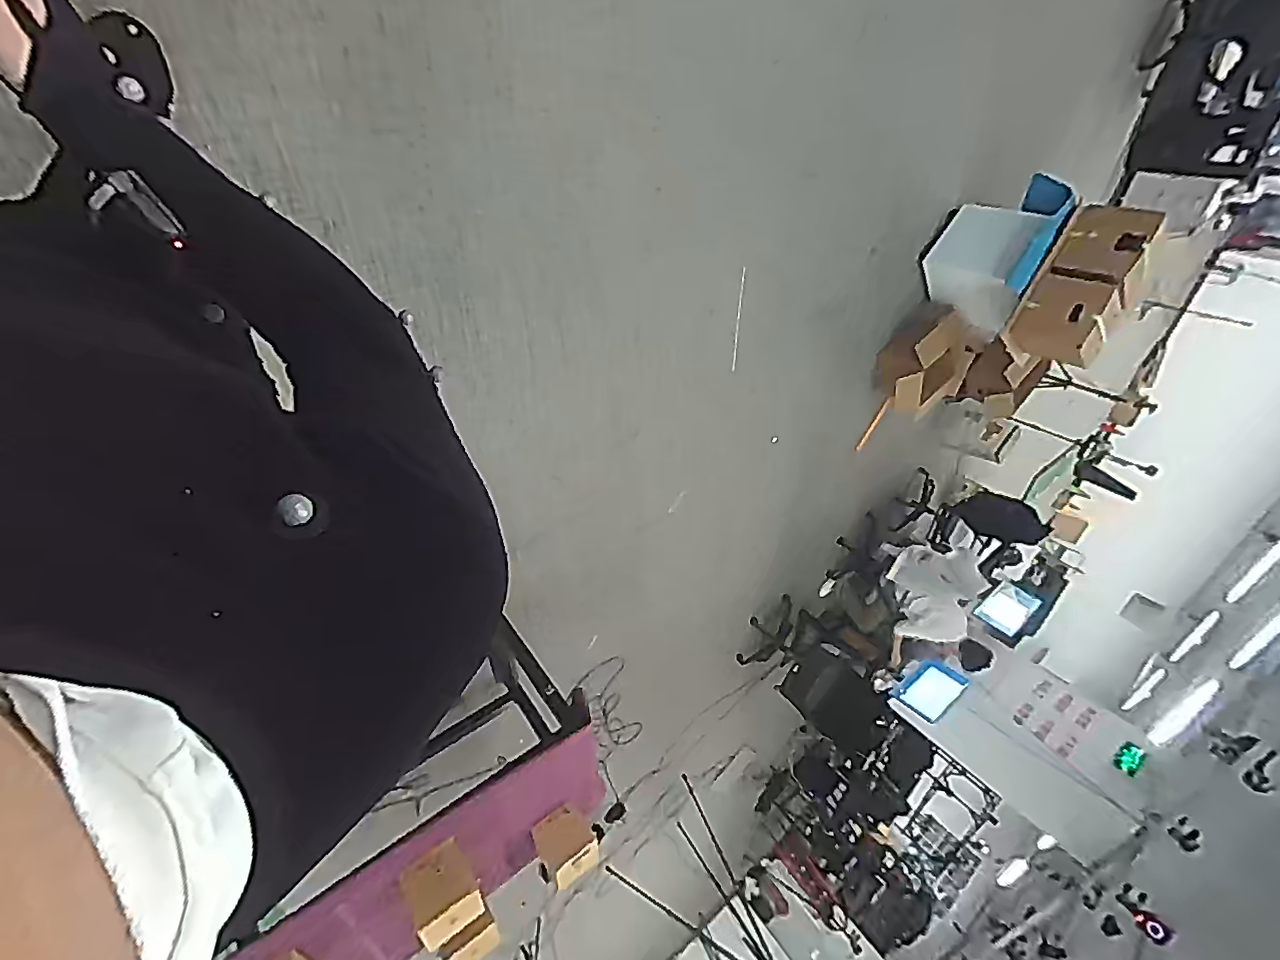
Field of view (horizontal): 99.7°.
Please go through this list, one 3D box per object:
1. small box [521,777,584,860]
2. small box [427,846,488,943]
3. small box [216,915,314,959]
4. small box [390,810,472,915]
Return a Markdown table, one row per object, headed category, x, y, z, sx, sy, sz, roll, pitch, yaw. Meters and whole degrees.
| category | x | y | z | sx | sy | sz | roll | pitch | yaw |
| --- | --- | --- | --- | --- | --- | --- | --- | --- | --- |
| small box | -0.320 | 1.221 | 1.966 | 0.168 | 0.176 | 0.179 | -23 | 134 | -30 |
| small box | -0.622 | 1.360 | 1.786 | 0.168 | 0.176 | 0.179 | -23 | 133 | -32 |
| small box | -0.942 | 1.260 | 1.373 | 0.168 | 0.176 | 0.179 | -26 | 136 | -31 |
| small box | -0.614 | 1.120 | 1.594 | 0.168 | 0.176 | 0.179 | -23 | 135 | -31 |
